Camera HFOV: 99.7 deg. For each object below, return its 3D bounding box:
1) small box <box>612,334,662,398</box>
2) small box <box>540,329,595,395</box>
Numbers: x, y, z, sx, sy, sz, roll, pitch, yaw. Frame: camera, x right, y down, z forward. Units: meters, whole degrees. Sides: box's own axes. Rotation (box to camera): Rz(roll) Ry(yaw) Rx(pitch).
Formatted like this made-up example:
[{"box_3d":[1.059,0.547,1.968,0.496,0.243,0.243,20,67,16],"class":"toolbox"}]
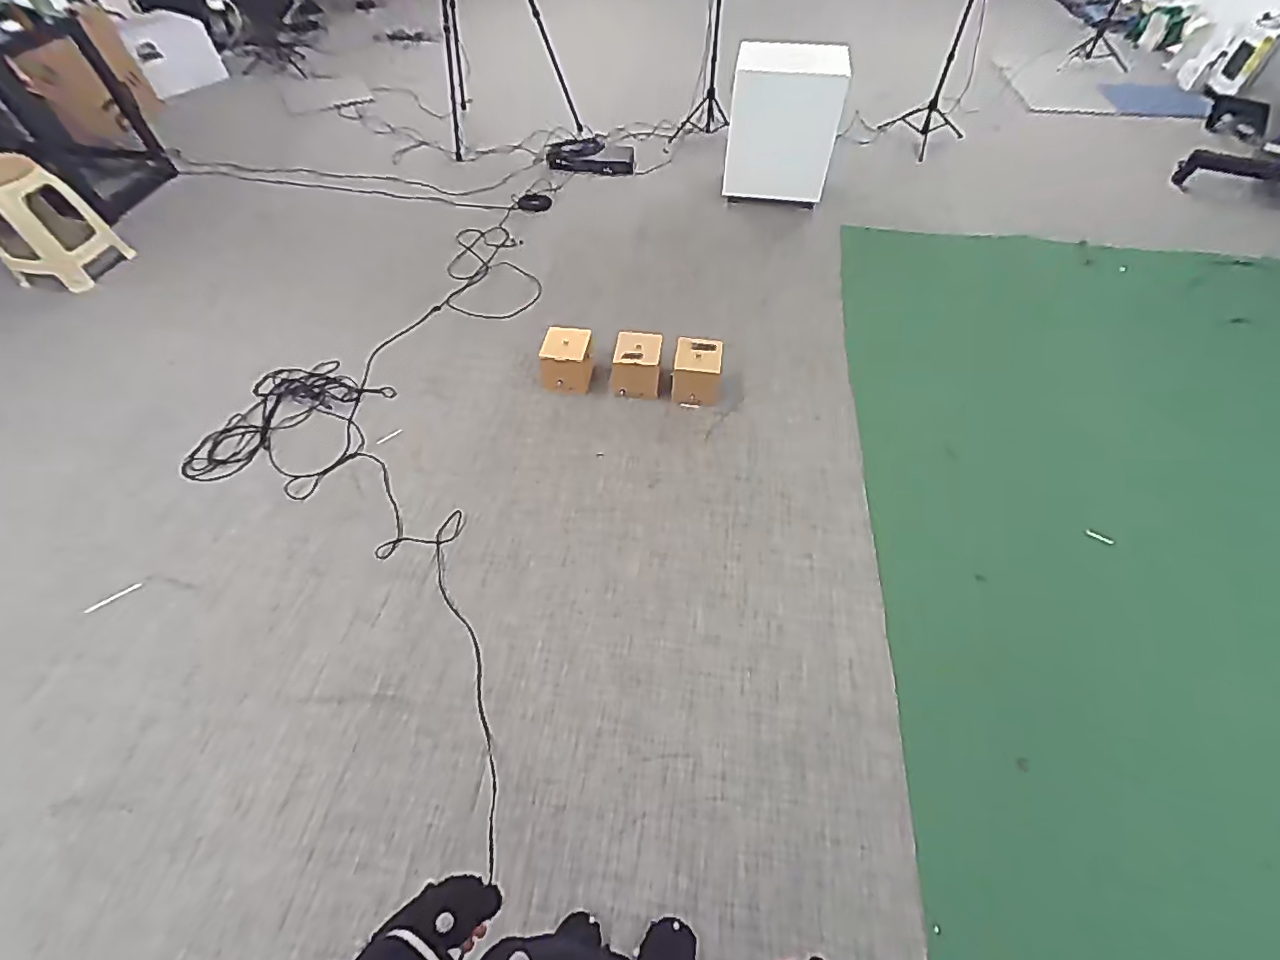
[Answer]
[{"box_3d":[-0.007,-0.427,2.042,0.168,0.176,0.179,5,53,6],"class":"small box"},{"box_3d":[-0.271,-0.449,2.066,0.168,0.176,0.179,6,54,6],"class":"small box"}]
